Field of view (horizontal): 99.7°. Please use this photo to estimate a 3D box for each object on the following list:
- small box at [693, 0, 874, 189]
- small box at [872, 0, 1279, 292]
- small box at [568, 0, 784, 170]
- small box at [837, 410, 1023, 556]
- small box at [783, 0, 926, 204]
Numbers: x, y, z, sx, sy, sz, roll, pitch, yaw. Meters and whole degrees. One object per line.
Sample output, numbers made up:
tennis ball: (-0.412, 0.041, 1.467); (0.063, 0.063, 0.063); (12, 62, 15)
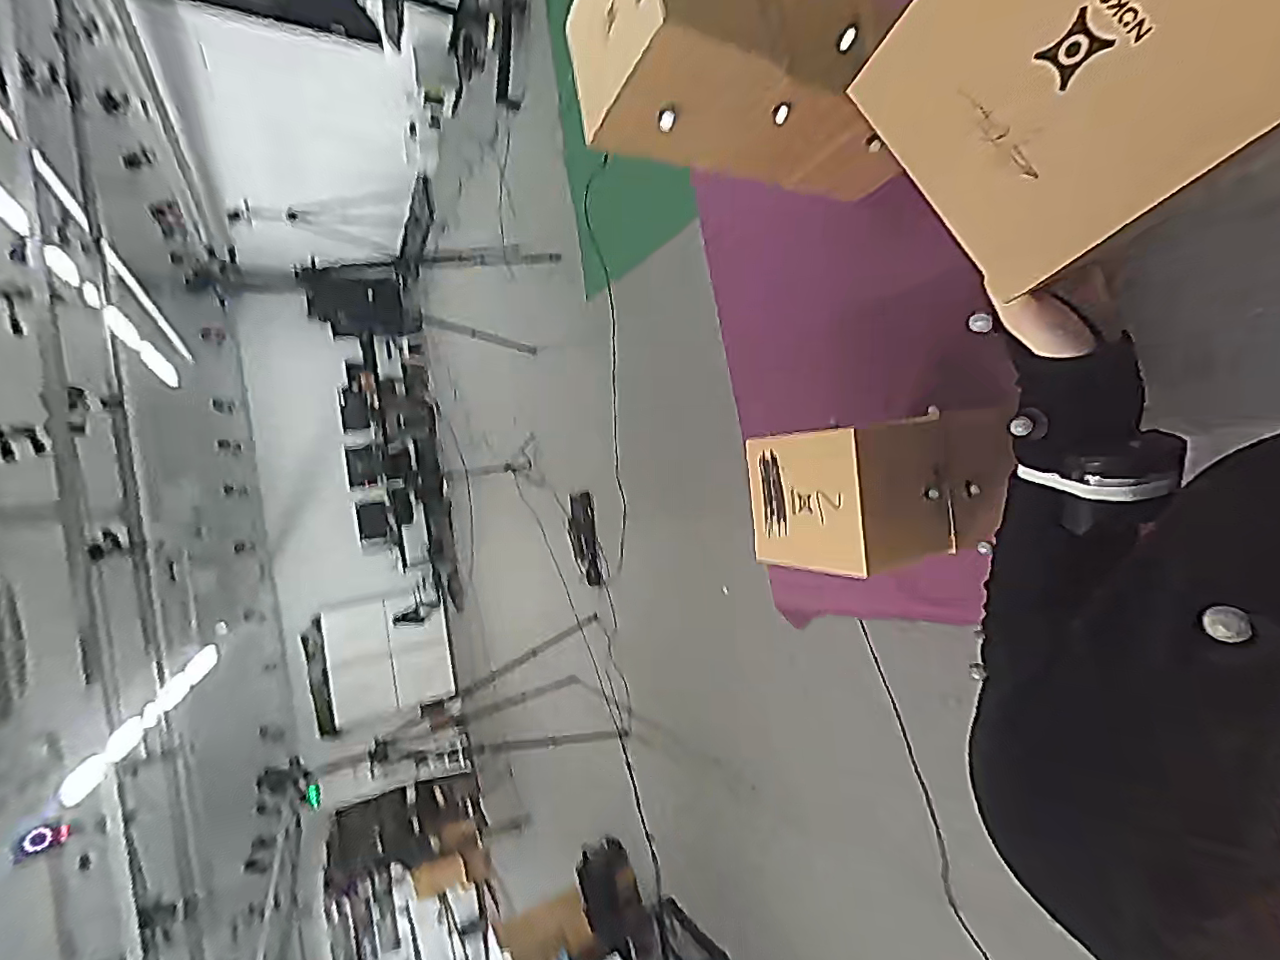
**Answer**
small box: (0.174, -0.518, 0.718); (0.179, 0.176, 0.168); (-13, 86, 58)
small box: (0.273, -0.235, 0.285); (0.168, 0.176, 0.179); (60, 148, 7)
small box: (0.036, -0.497, 0.631); (0.179, 0.176, 0.168); (-21, 80, 59)
small box: (0.414, 0.003, 0.773); (0.168, 0.176, 0.179); (-9, 89, 60)
small box: (0.318, -0.535, 0.793); (0.179, 0.176, 0.168); (-14, 85, 60)
